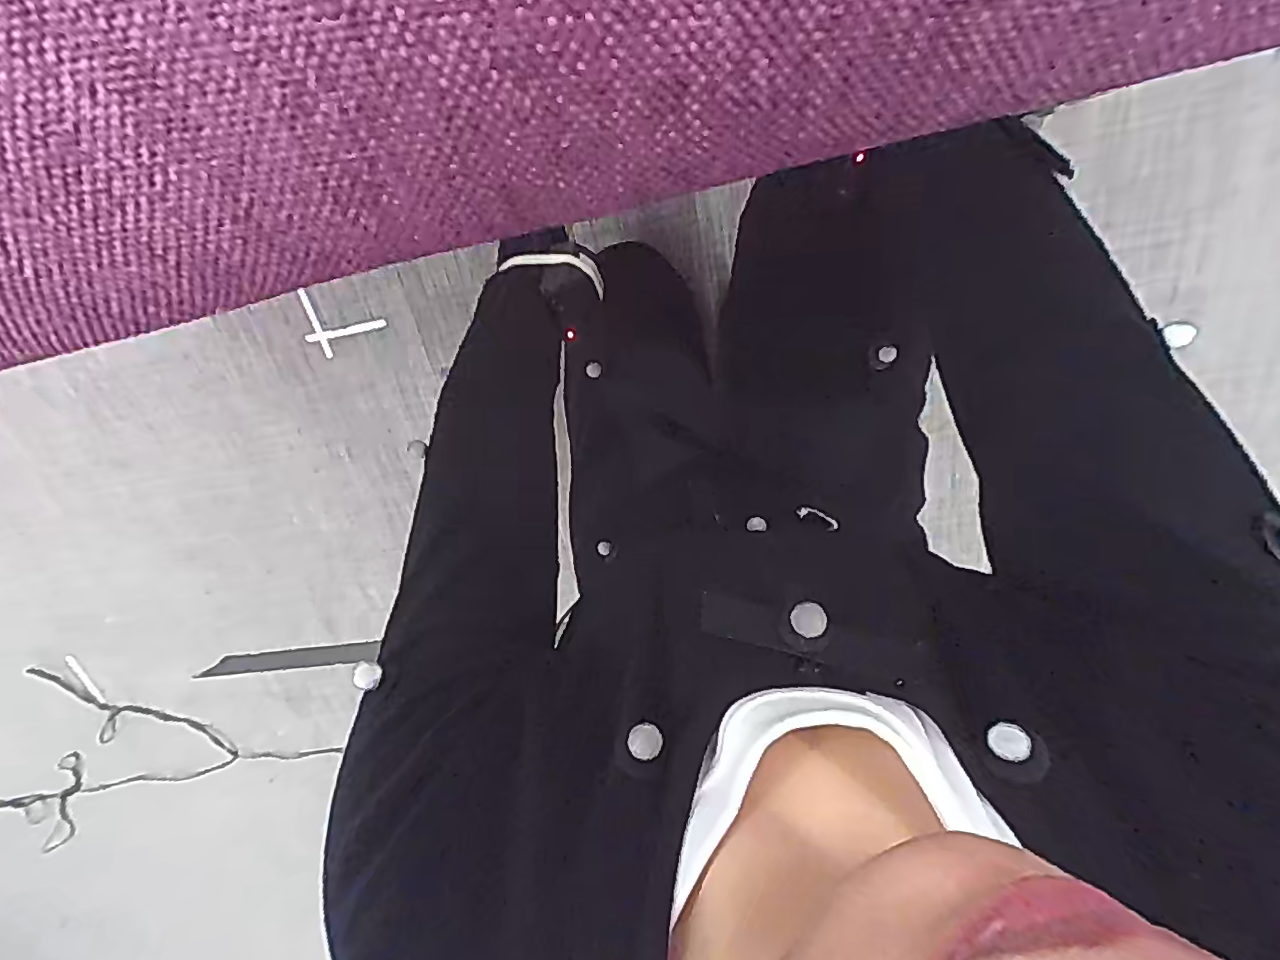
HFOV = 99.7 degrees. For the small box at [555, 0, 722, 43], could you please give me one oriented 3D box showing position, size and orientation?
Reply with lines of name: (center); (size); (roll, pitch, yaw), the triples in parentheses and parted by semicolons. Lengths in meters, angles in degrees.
small box: (-0.012, -0.494, 0.428); (0.168, 0.176, 0.179); (-9, 116, 10)
